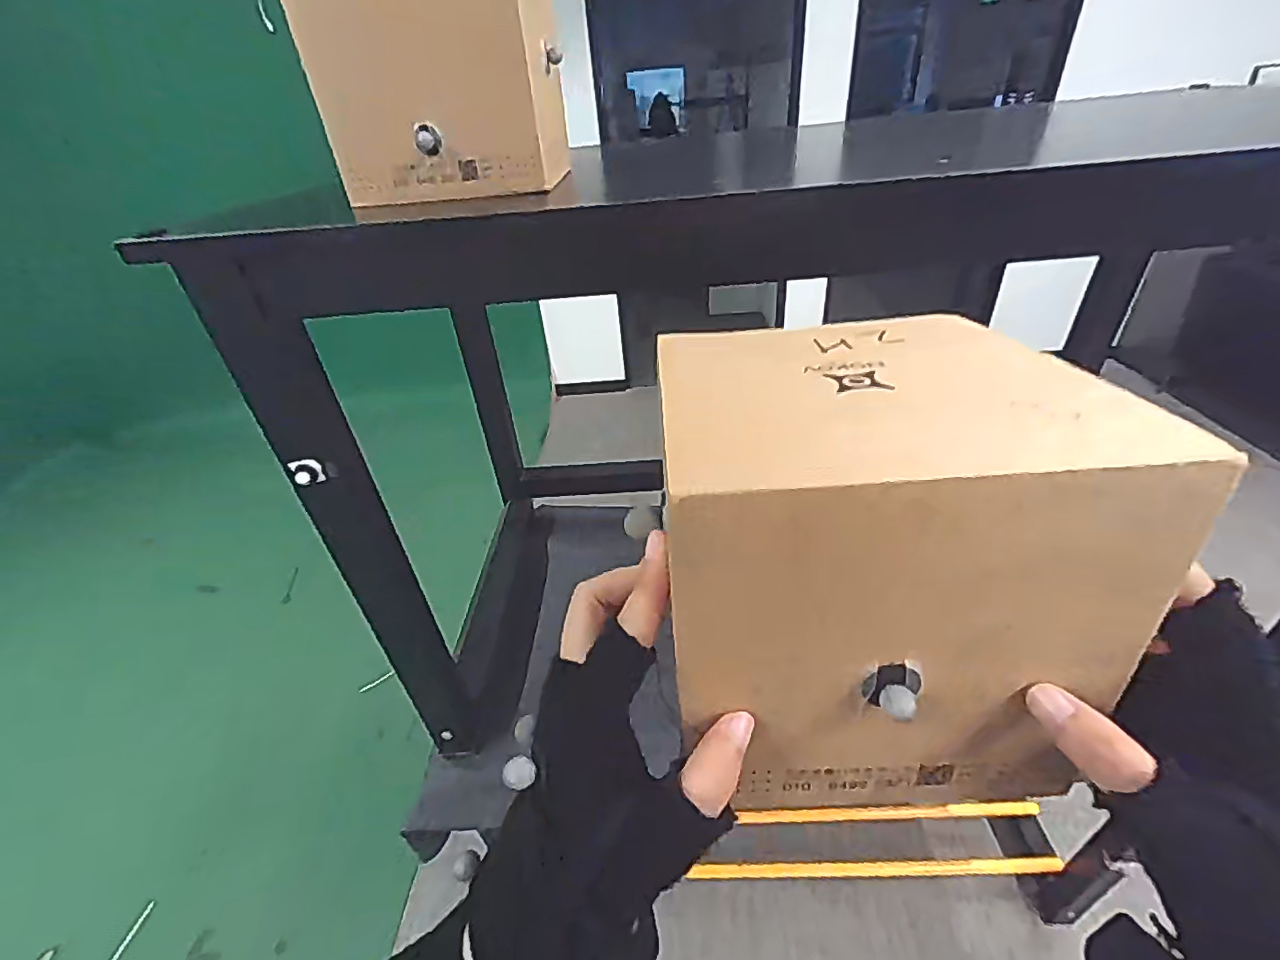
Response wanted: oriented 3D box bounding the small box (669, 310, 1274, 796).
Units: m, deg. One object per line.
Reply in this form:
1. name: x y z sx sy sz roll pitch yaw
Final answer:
1. small box: 0.102 0.028 0.264 0.168 0.176 0.179 -3 30 2
